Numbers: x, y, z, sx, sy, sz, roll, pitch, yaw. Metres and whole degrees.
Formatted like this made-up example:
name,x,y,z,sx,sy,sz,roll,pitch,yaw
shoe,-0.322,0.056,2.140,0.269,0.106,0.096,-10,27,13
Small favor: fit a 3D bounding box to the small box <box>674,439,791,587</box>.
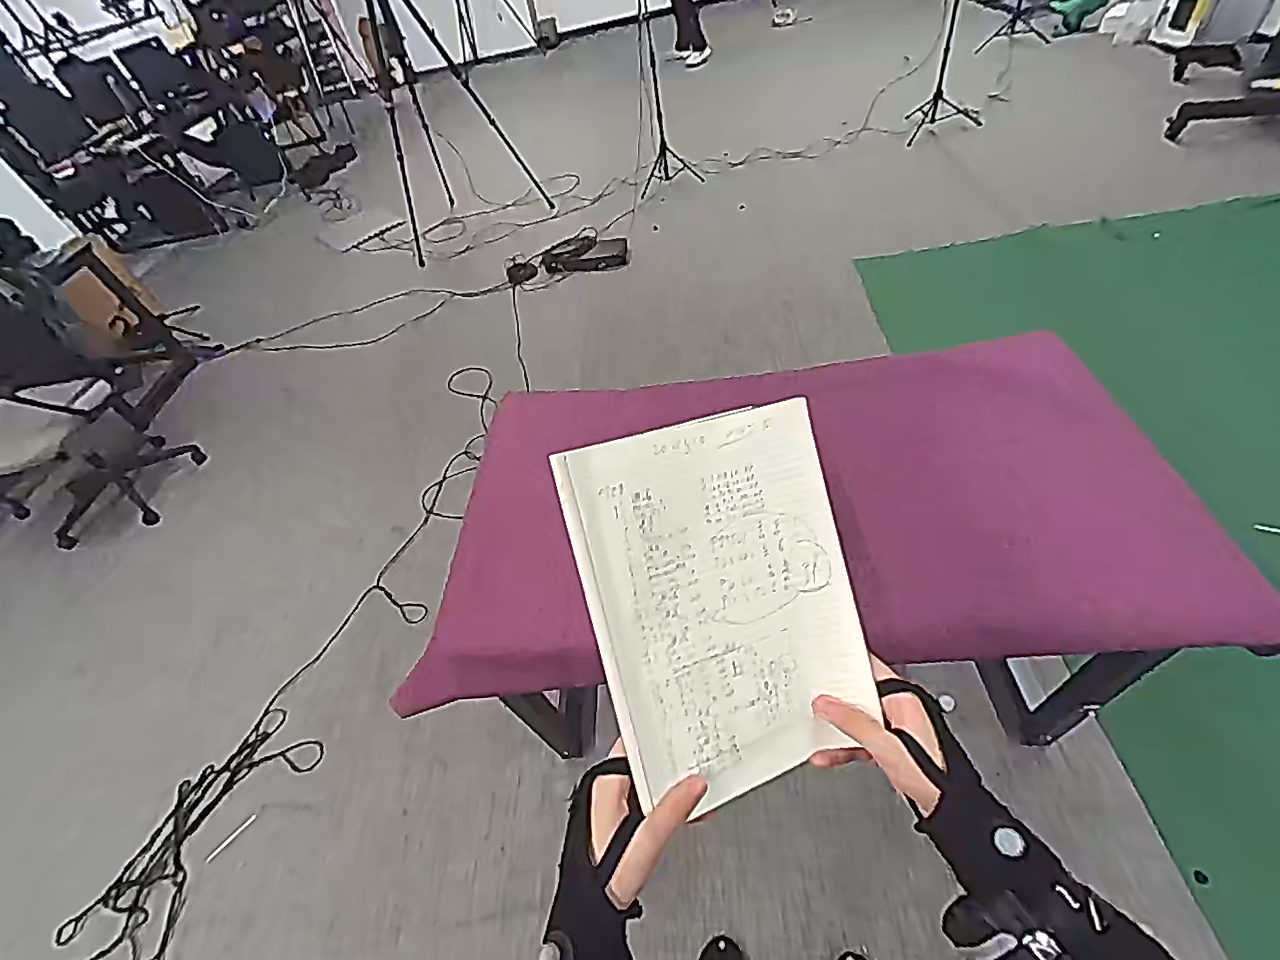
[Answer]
name,x,y,z,sx,sy,sz,roll,pitch,yaw
small box,0.146,0.060,0.864,0.168,0.176,0.179,-5,49,8
